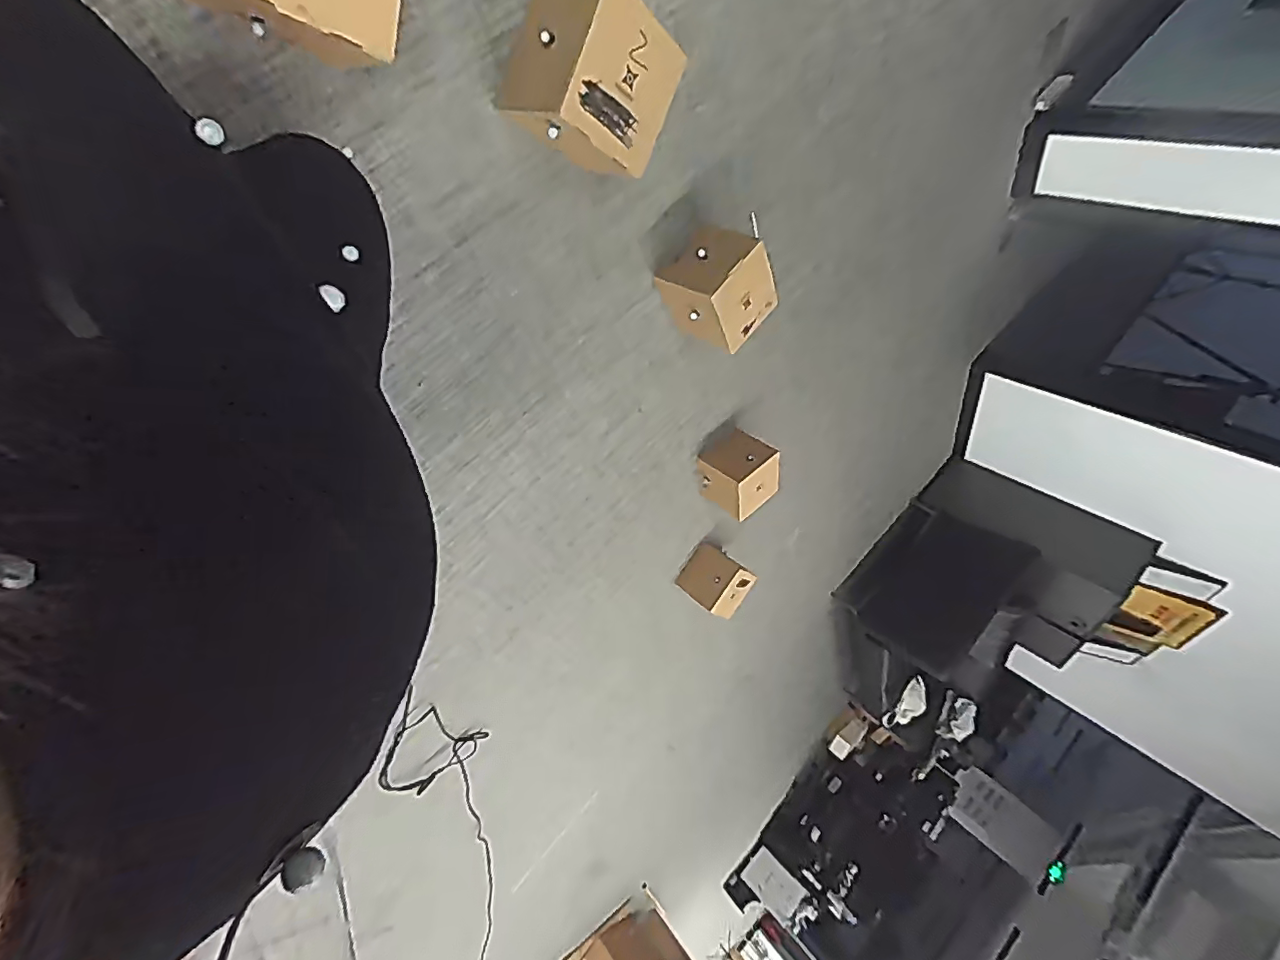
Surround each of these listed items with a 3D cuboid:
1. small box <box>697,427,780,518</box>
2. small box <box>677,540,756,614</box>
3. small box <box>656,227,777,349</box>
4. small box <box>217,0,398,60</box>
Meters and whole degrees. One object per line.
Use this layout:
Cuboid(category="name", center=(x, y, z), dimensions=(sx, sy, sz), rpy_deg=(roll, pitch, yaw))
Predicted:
Cuboid(category="small box", center=(0.289, -0.029, 1.598), dimensions=(0.179, 0.176, 0.168), rpy_deg=(-36, 139, -24))
Cuboid(category="small box", center=(0.259, 0.328, 1.840), dimensions=(0.179, 0.176, 0.168), rpy_deg=(-56, 143, 2))
Cuboid(category="small box", center=(0.162, -0.417, 1.158), dimensions=(0.168, 0.176, 0.179), rpy_deg=(-49, 142, -8))
Cuboid(category="small box", center=(-0.340, -0.542, 0.513), dimensions=(0.168, 0.176, 0.179), rpy_deg=(-5, 123, -47))
